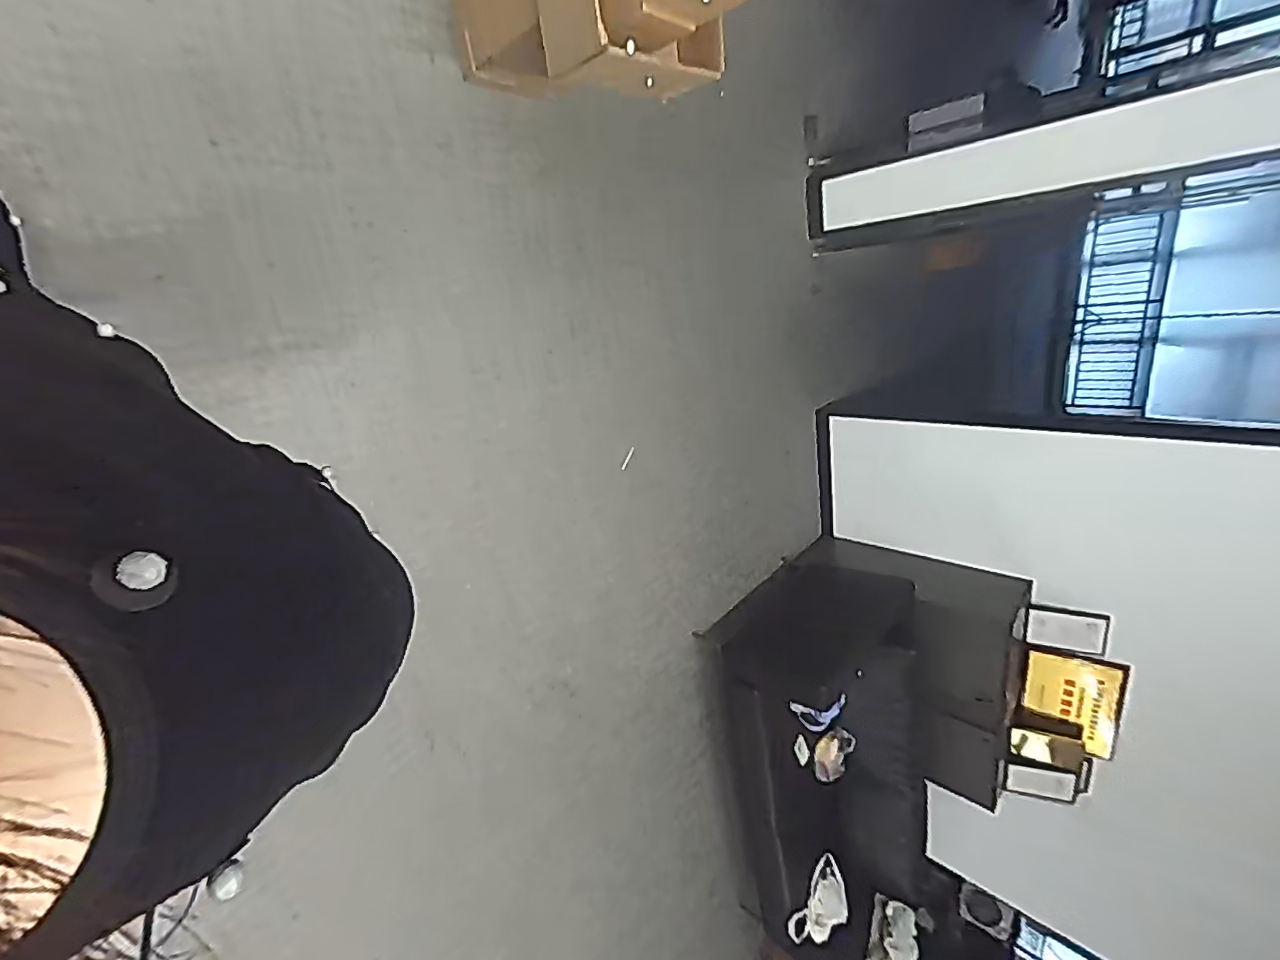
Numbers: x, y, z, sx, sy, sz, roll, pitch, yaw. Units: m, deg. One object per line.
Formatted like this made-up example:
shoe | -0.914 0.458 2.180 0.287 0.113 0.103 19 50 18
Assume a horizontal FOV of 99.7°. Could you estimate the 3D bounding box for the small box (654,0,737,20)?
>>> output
small box | 0.124 -1.016 1.023 0.179 0.176 0.168 -23 115 -39
